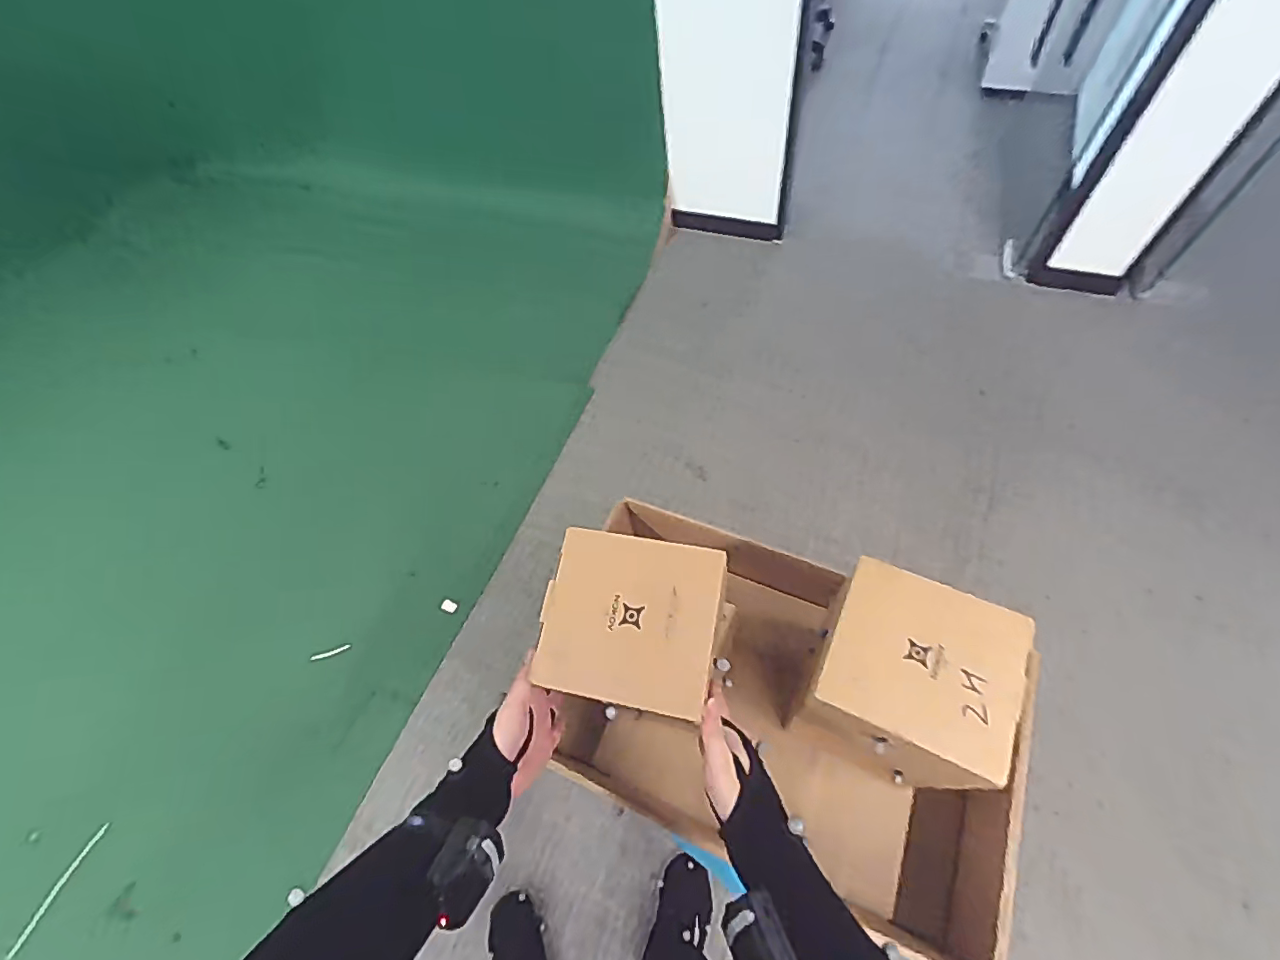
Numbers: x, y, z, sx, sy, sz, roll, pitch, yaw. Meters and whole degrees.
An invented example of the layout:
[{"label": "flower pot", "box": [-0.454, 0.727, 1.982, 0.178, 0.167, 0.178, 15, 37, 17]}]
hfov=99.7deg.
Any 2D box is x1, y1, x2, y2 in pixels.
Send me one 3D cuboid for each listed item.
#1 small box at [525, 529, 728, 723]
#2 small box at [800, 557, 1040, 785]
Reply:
[{"label": "small box", "box": [0.000, 0.169, 0.608, 0.179, 0.176, 0.168, 8, 68, 13]}, {"label": "small box", "box": [0.294, 0.217, 0.602, 0.179, 0.176, 0.168, 22, 66, 18]}]
